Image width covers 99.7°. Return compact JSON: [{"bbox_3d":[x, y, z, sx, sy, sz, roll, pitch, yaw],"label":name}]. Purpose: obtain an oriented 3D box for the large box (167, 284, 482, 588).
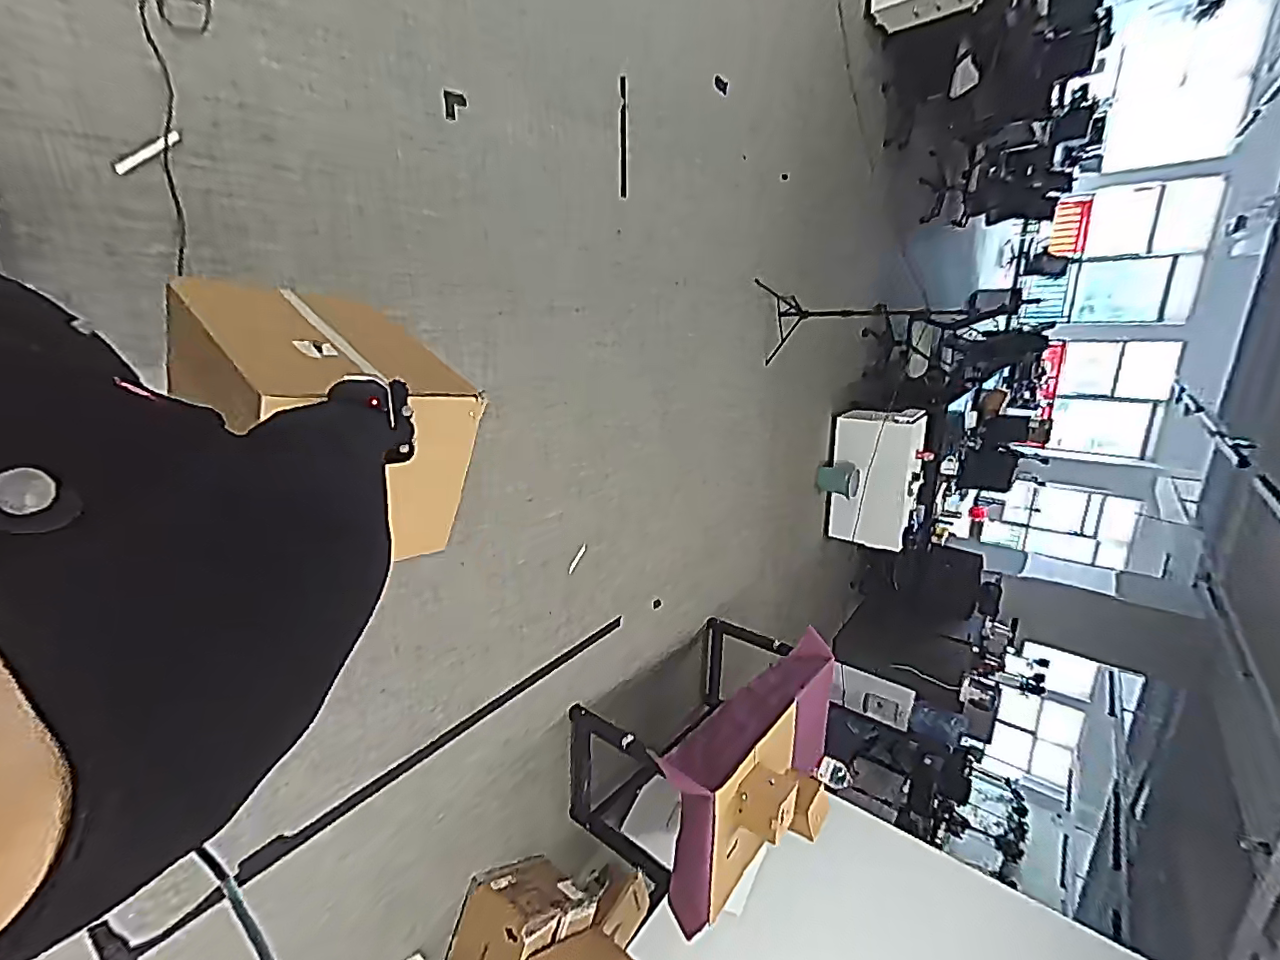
[{"bbox_3d":[-0.543,-0.088,0.914,0.320,0.408,0.320,-12,132,-51],"label":"large box"}]
